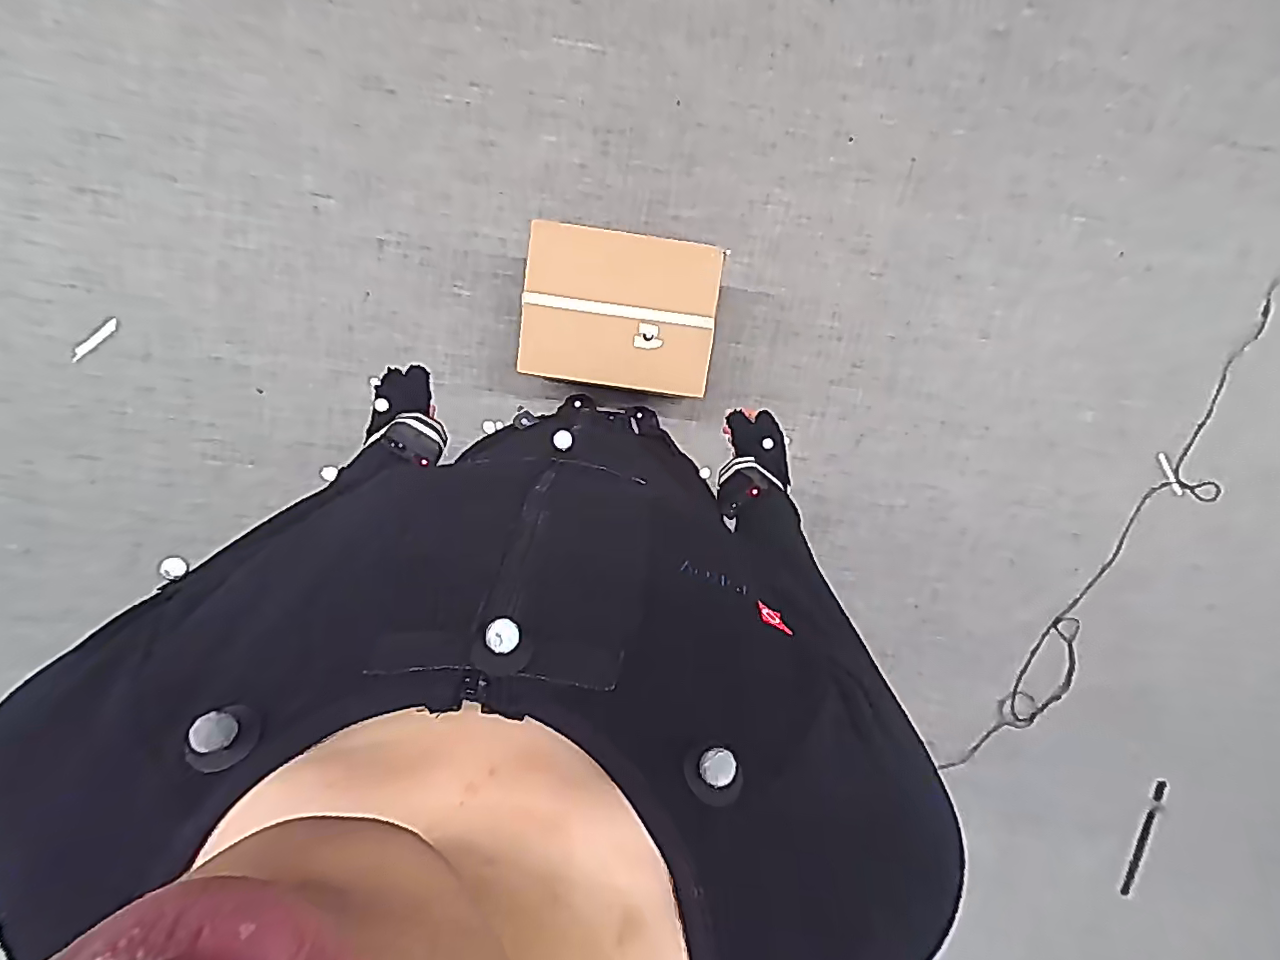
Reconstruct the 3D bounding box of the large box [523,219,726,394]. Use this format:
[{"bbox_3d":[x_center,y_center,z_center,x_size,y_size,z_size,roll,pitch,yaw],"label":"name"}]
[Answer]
[{"bbox_3d":[-0.042,-0.381,1.276,0.408,0.320,0.320,7,99,-3],"label":"large box"}]
